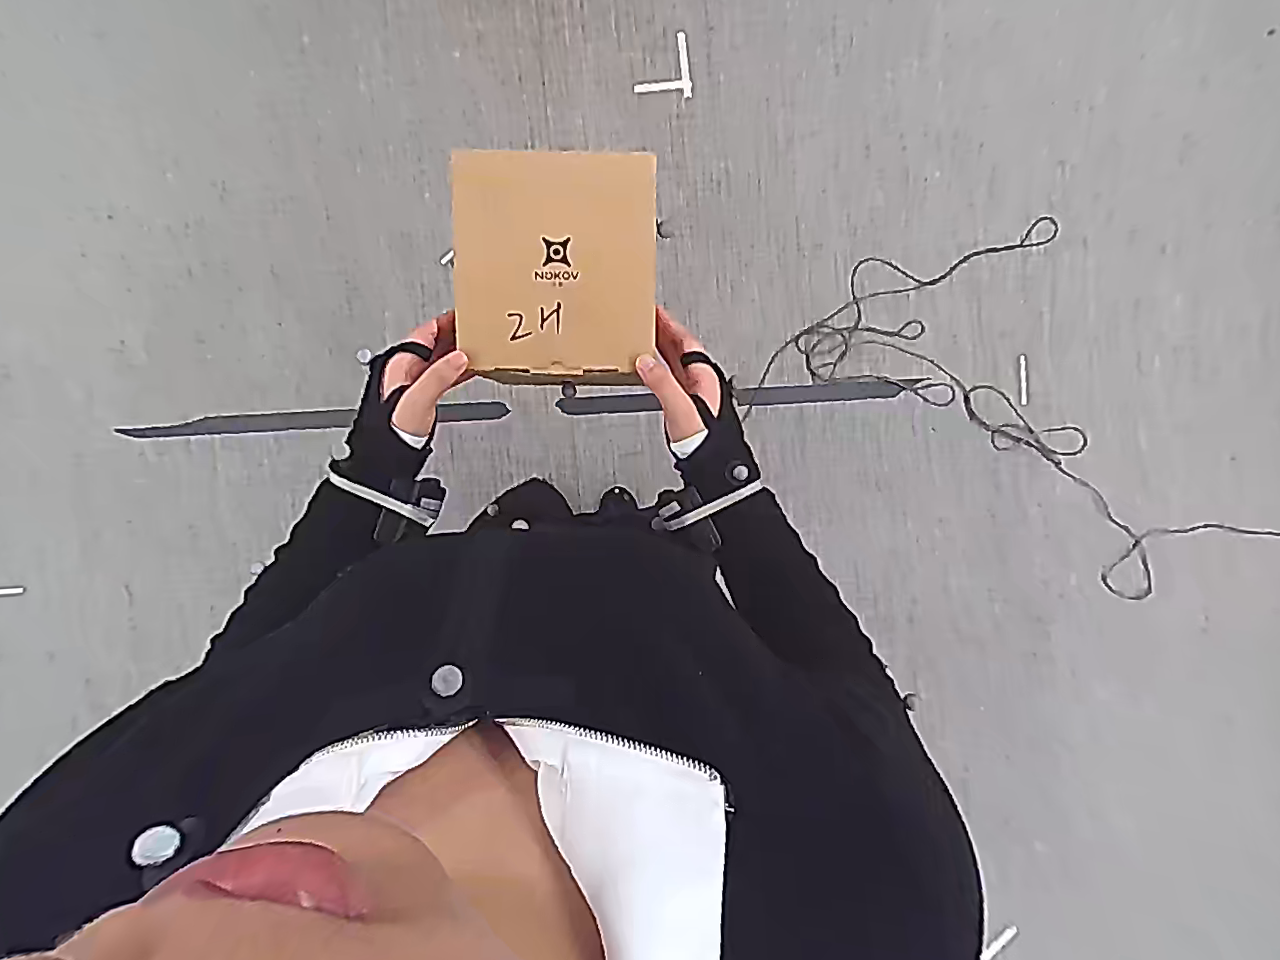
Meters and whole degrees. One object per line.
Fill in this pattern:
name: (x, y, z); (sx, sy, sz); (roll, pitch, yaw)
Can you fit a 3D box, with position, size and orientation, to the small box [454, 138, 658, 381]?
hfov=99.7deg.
small box: (-0.071, -0.193, 0.520); (0.168, 0.176, 0.179); (0, 95, -1)
